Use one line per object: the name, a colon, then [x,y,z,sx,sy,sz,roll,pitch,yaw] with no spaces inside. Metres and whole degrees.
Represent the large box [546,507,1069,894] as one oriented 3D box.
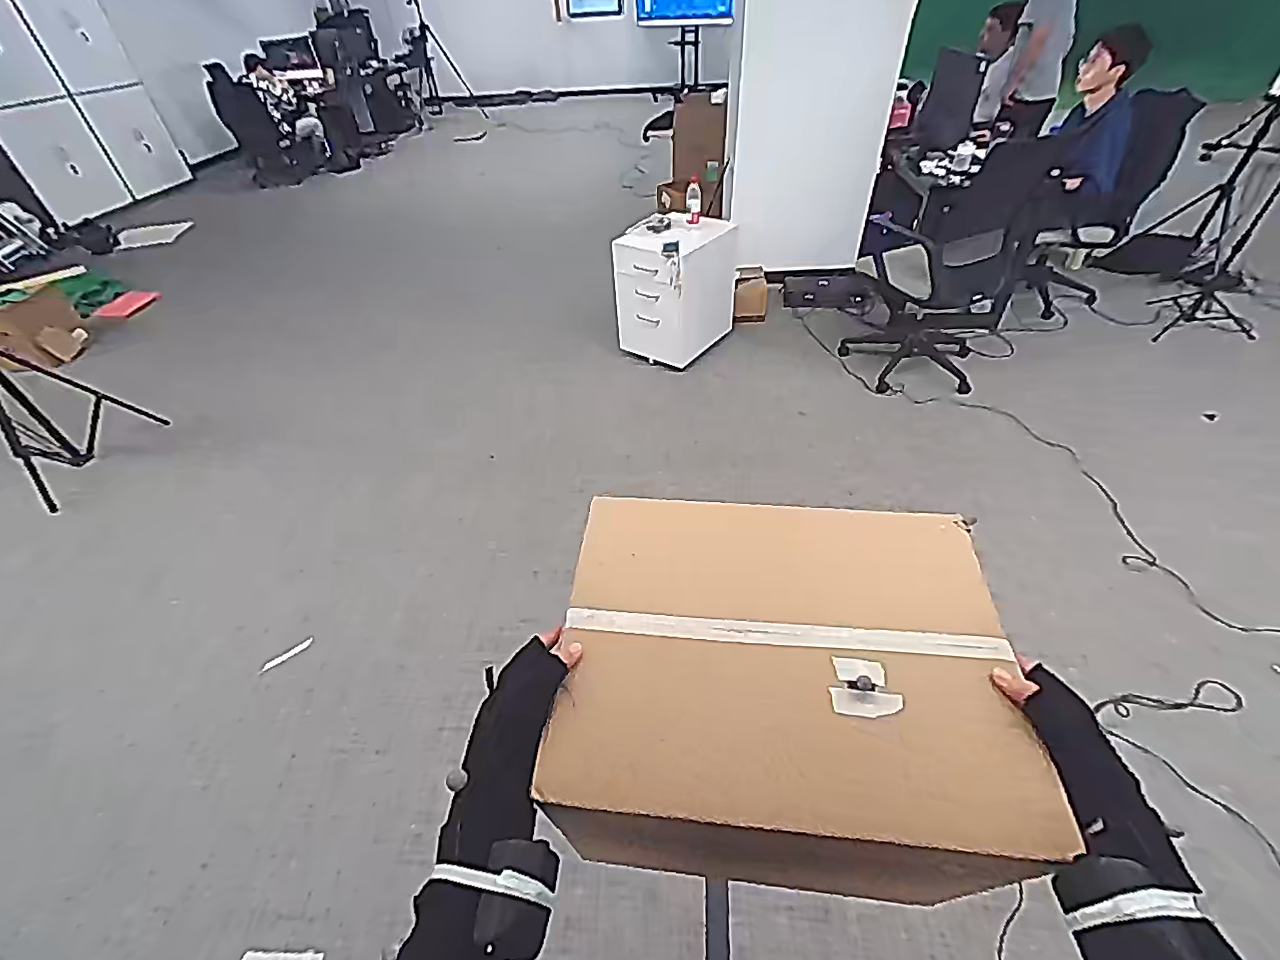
large box: [0.138,0.251,0.621,0.408,0.320,0.320,3,49,6]
